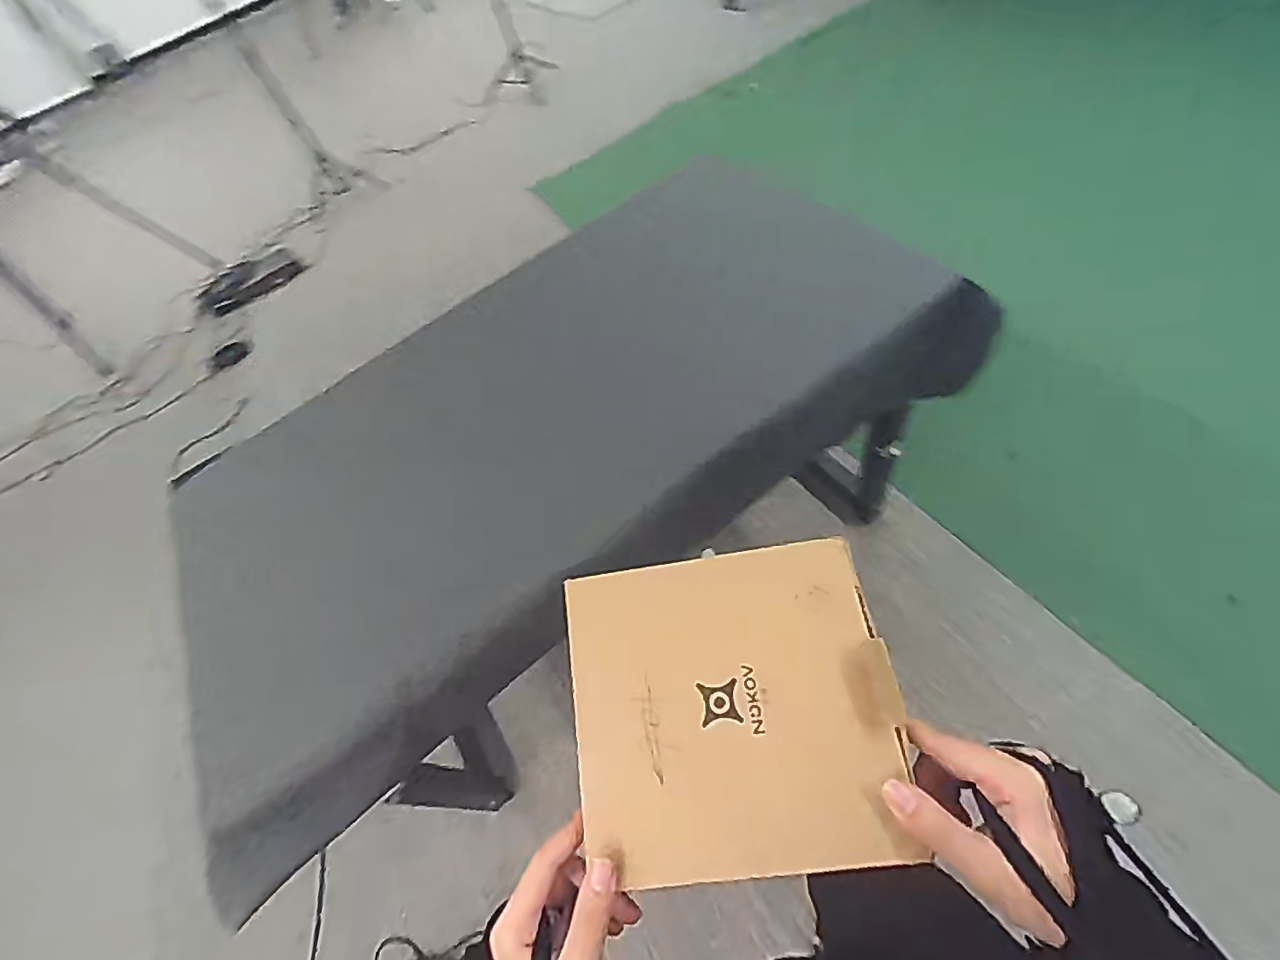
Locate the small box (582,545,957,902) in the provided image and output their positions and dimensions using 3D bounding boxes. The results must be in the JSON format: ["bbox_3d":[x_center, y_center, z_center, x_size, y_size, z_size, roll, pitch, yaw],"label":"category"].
[{"bbox_3d":[0.071,0.155,0.367,0.179,0.176,0.168,-11,65,8],"label":"small box"}]
